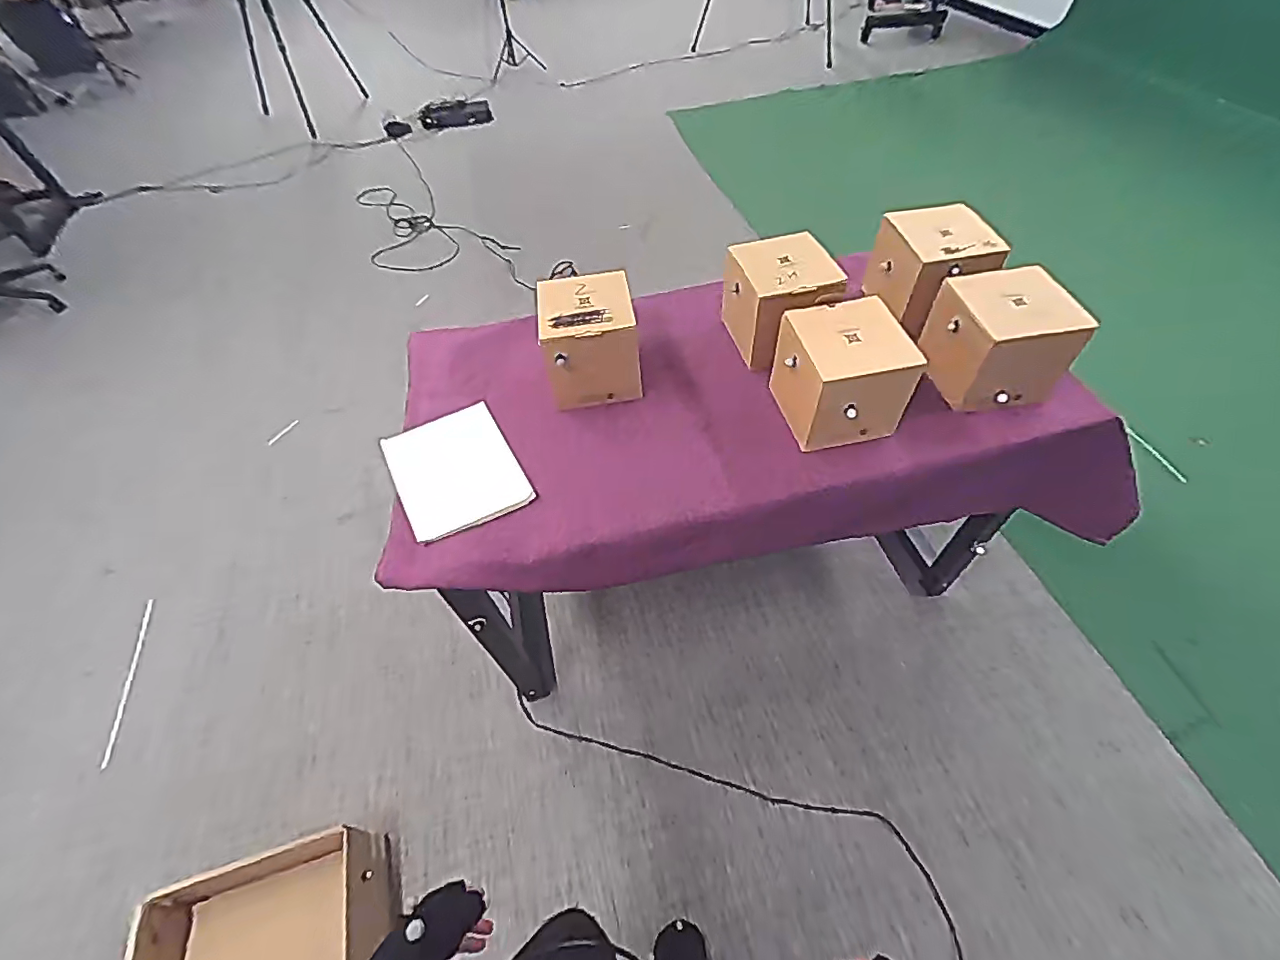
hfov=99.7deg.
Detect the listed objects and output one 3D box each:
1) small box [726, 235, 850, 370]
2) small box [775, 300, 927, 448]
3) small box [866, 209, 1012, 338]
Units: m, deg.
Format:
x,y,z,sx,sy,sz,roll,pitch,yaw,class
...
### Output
x,y,z,sx,sy,sz,roll,pitch,yaw,class
0.270,-0.339,1.040,0.168,0.176,0.179,-12,54,-5,small box
0.339,-0.170,0.909,0.168,0.176,0.179,-10,54,-3,small box
0.574,-0.406,1.070,0.168,0.176,0.179,-9,53,-2,small box
